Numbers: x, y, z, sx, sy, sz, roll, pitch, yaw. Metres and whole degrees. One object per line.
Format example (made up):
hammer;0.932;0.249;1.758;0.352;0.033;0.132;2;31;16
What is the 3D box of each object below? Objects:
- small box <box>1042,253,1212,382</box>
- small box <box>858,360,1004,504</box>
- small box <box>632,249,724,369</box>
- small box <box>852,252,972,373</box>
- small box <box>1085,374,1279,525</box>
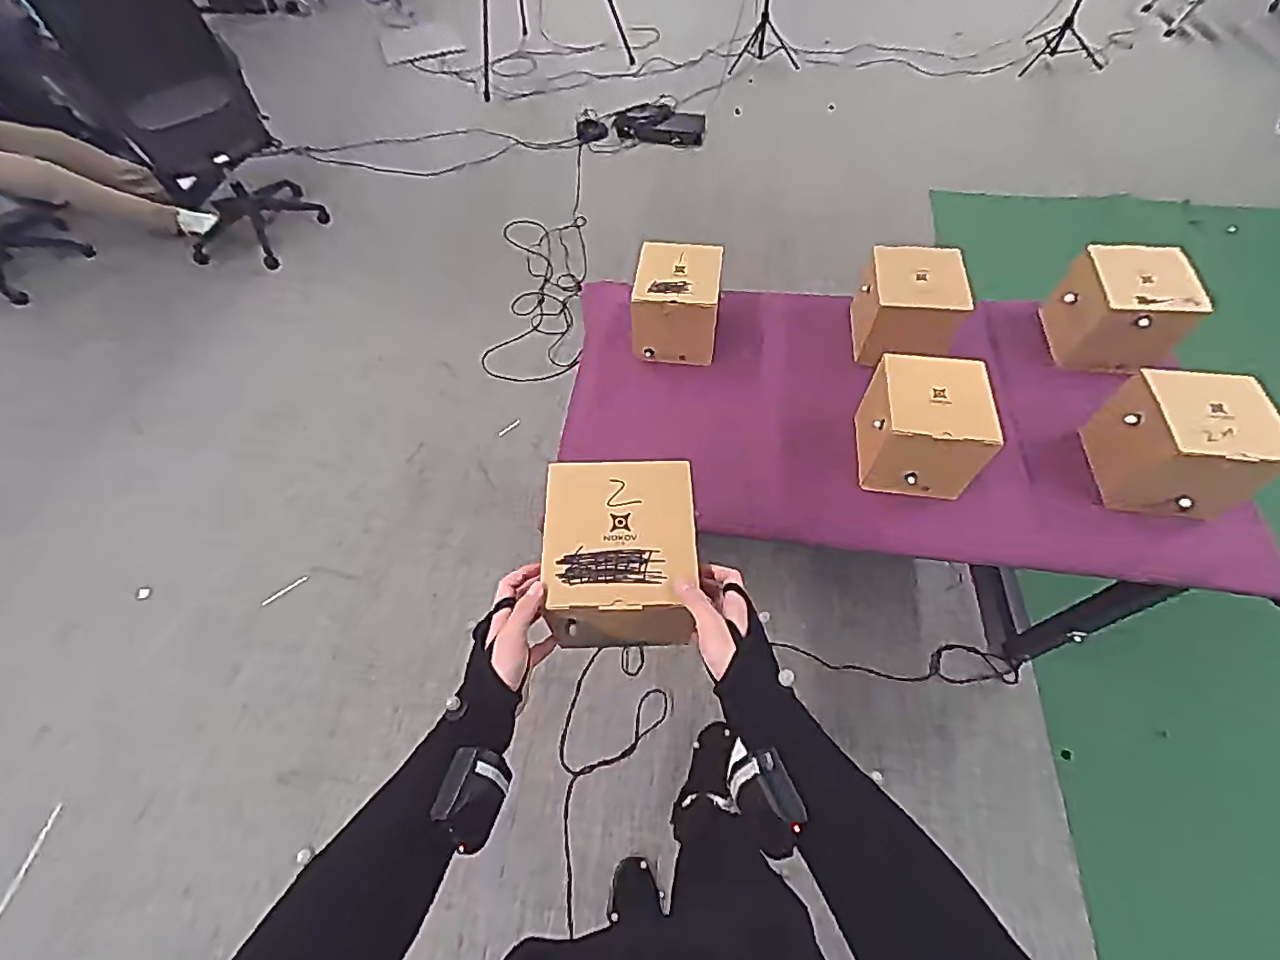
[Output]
small box;0.934;-0.318;1.062;0.168;0.176;0.179;4;59;8
small box;0.488;-0.081;0.940;0.168;0.176;0.179;7;57;7
small box;0.082;-0.352;1.130;0.168;0.176;0.179;6;59;6
small box;0.538;-0.333;1.098;0.168;0.176;0.179;6;60;7
small box;0.888;-0.048;0.893;0.168;0.176;0.179;6;57;8
